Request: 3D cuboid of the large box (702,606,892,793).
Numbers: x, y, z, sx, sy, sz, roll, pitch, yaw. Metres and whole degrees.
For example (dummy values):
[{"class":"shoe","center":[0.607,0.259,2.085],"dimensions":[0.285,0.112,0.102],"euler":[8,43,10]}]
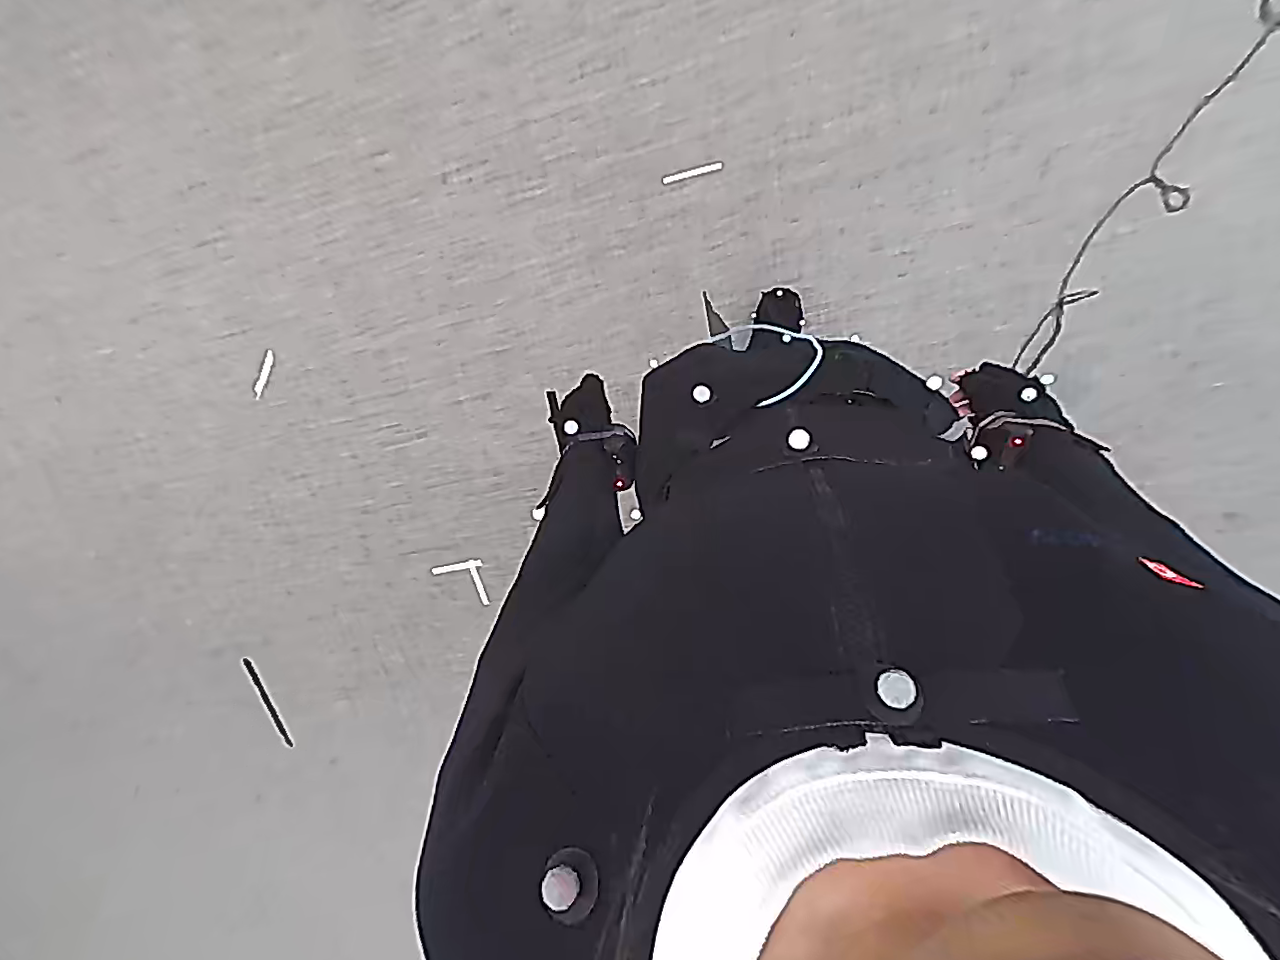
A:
[{"class":"large box","center":[0.412,0.588,1.476],"dimensions":[0.408,0.320,0.320],"euler":[-15,104,15]}]
